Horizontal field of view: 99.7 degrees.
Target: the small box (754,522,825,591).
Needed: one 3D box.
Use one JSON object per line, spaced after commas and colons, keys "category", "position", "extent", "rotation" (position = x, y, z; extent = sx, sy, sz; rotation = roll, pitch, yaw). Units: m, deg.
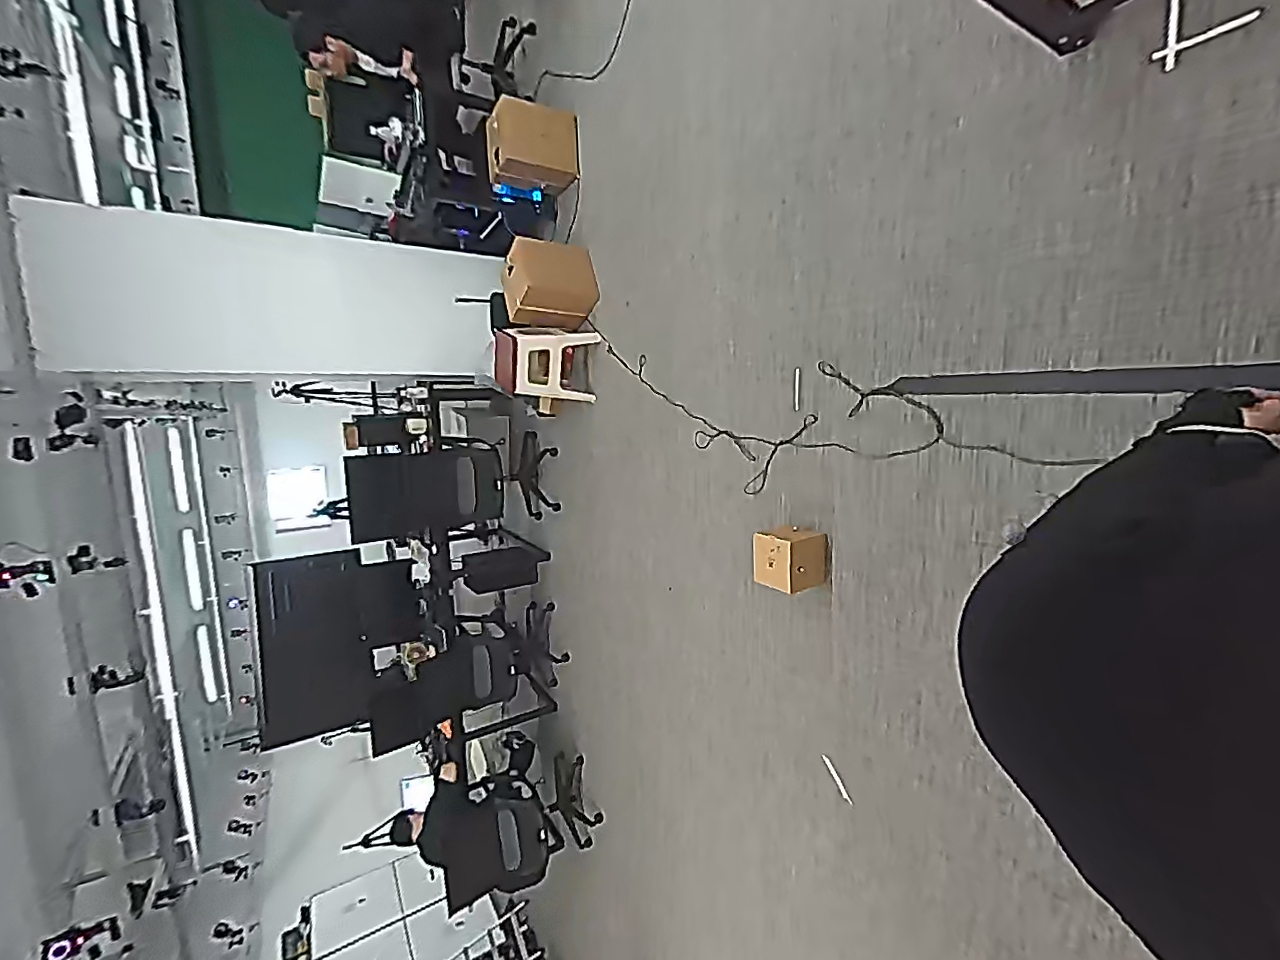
{"category": "small box", "position": [0.499, 0.249, 1.800], "extent": [0.168, 0.176, 0.179], "rotation": [12, 107, 56]}
